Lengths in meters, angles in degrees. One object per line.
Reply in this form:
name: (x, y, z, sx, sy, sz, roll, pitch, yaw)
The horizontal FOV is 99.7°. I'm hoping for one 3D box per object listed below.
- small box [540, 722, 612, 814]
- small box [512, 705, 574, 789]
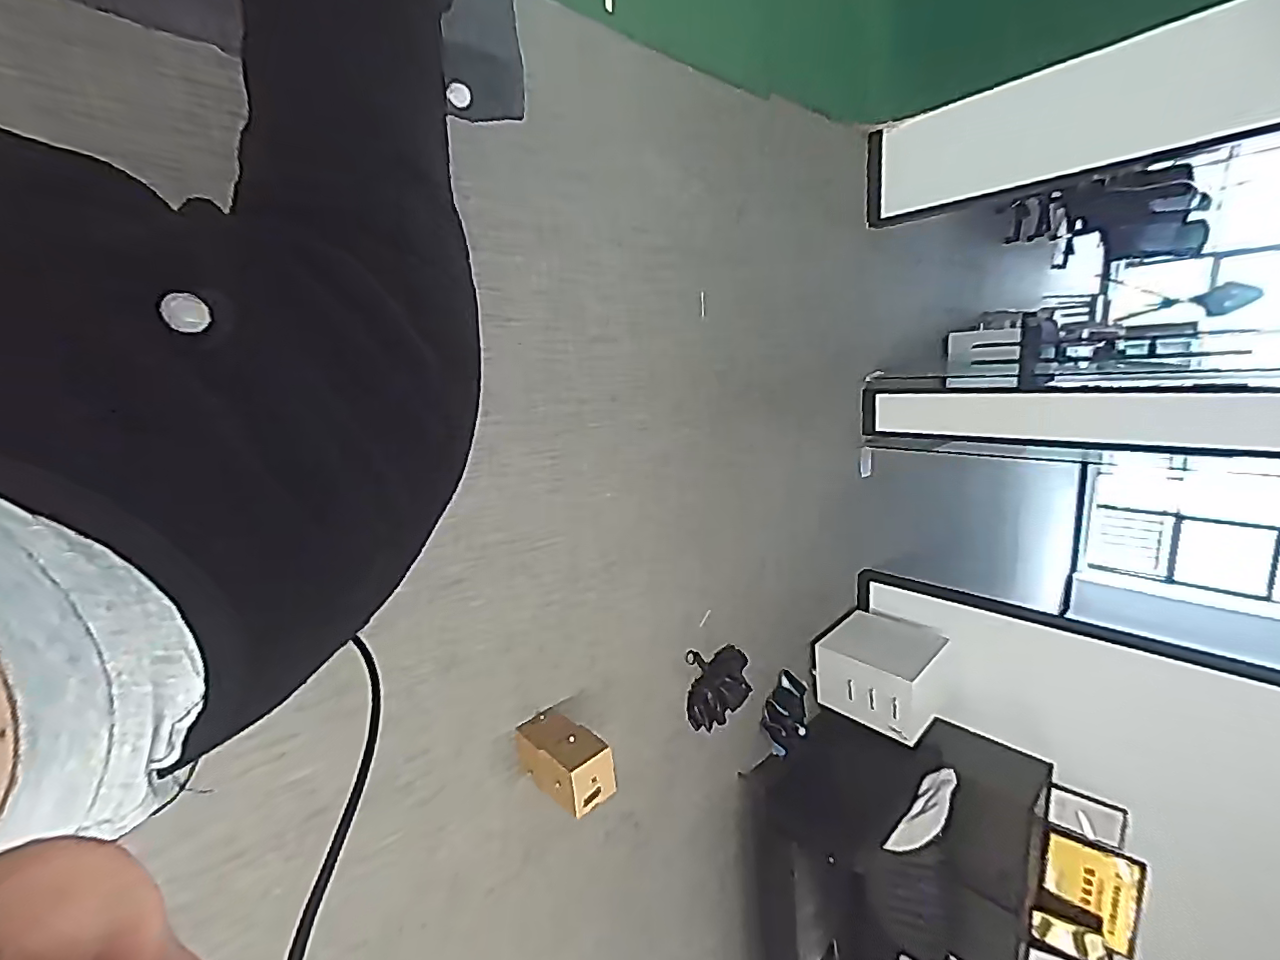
small box: (-0.214, 0.950, 1.799, 0.168, 0.176, 0.179, -17, 107, -41)
small box: (-0.332, 0.937, 1.914, 0.168, 0.176, 0.179, -19, 108, -41)
